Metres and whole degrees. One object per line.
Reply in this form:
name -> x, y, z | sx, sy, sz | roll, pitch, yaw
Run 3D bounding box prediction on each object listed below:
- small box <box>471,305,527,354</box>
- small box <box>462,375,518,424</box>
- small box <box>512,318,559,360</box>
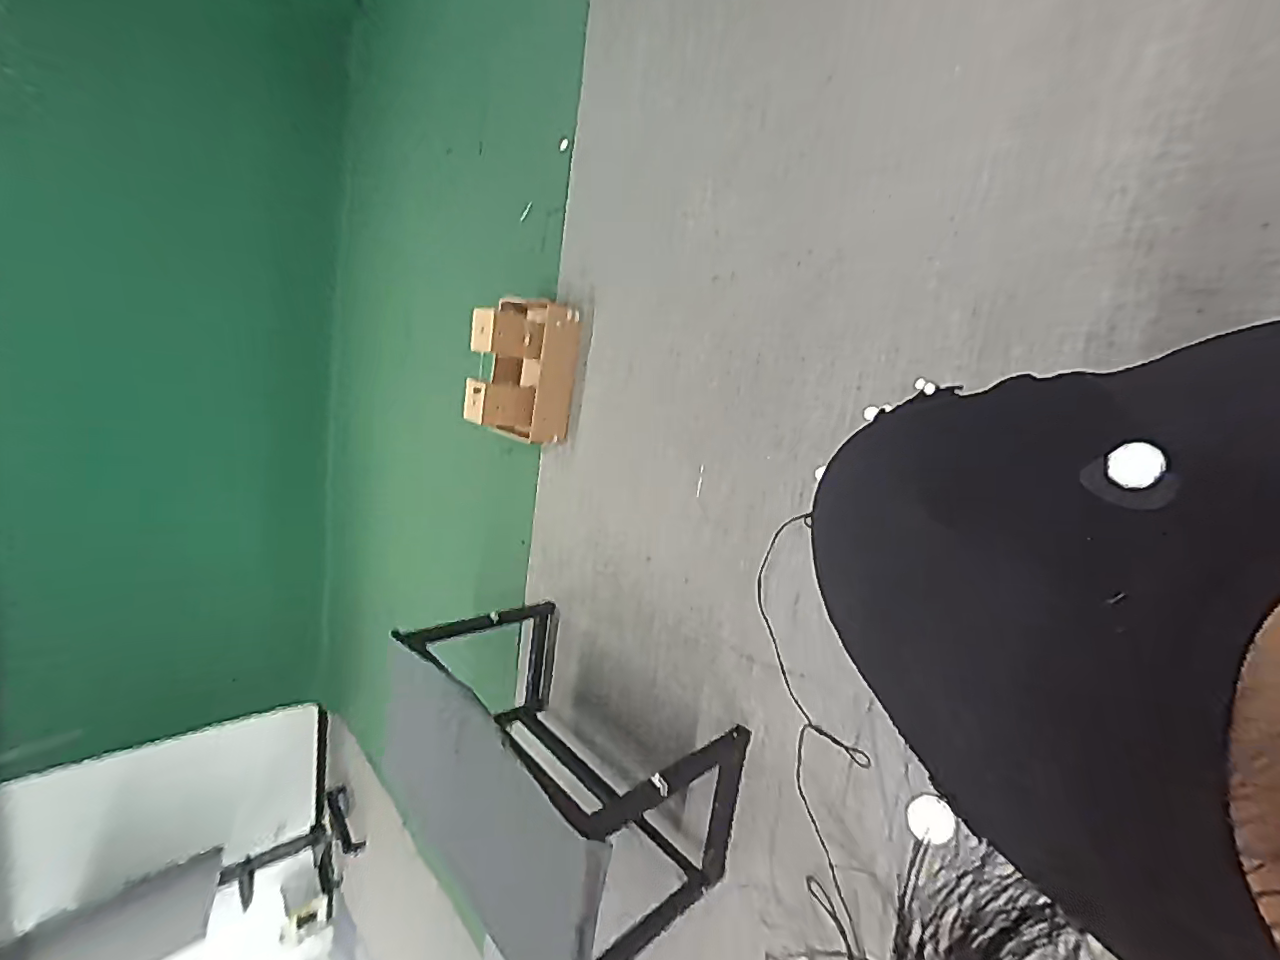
small box -> -0.601, -0.639, 2.307 | 0.168, 0.176, 0.179 | 18, 103, 41
small box -> -0.651, -0.349, 2.357 | 0.168, 0.176, 0.179 | 21, 105, 42
small box -> -0.483, -0.636, 2.419 | 0.179, 0.176, 0.168 | 22, 107, 41
